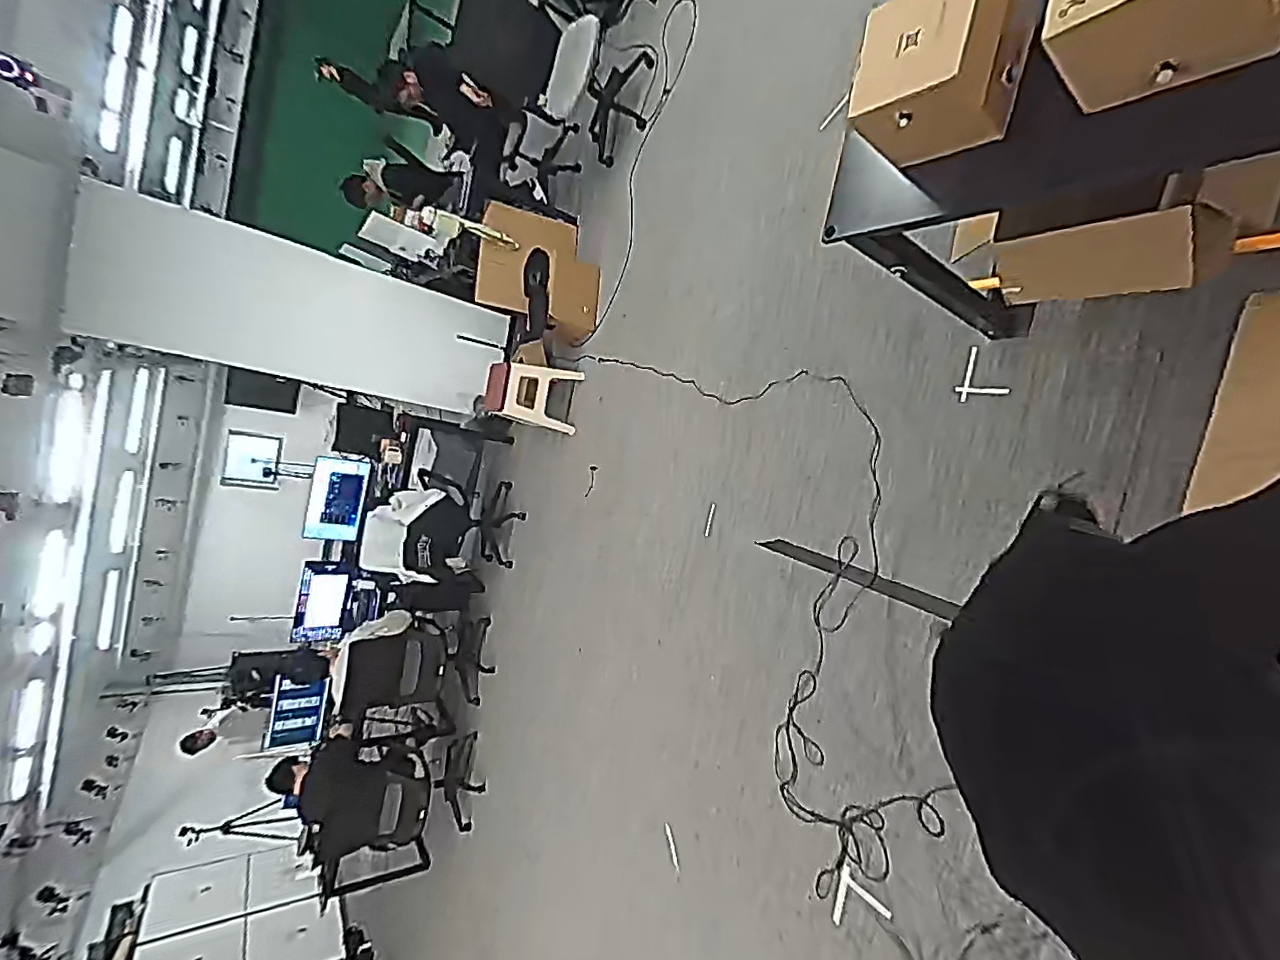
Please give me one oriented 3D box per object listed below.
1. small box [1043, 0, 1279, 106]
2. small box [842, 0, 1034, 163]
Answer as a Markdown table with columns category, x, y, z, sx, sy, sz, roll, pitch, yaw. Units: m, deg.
| category | x | y | z | sx | sy | sz | roll | pitch | yaw |
| --- | --- | --- | --- | --- | --- | --- | --- | --- | --- |
| small box | 0.590 | -0.565 | 0.595 | 0.179 | 0.176 | 0.168 | 14 | 94 | 53 |
| small box | 0.442 | -0.610 | 0.809 | 0.179 | 0.176 | 0.168 | 20 | 99 | 53 |
